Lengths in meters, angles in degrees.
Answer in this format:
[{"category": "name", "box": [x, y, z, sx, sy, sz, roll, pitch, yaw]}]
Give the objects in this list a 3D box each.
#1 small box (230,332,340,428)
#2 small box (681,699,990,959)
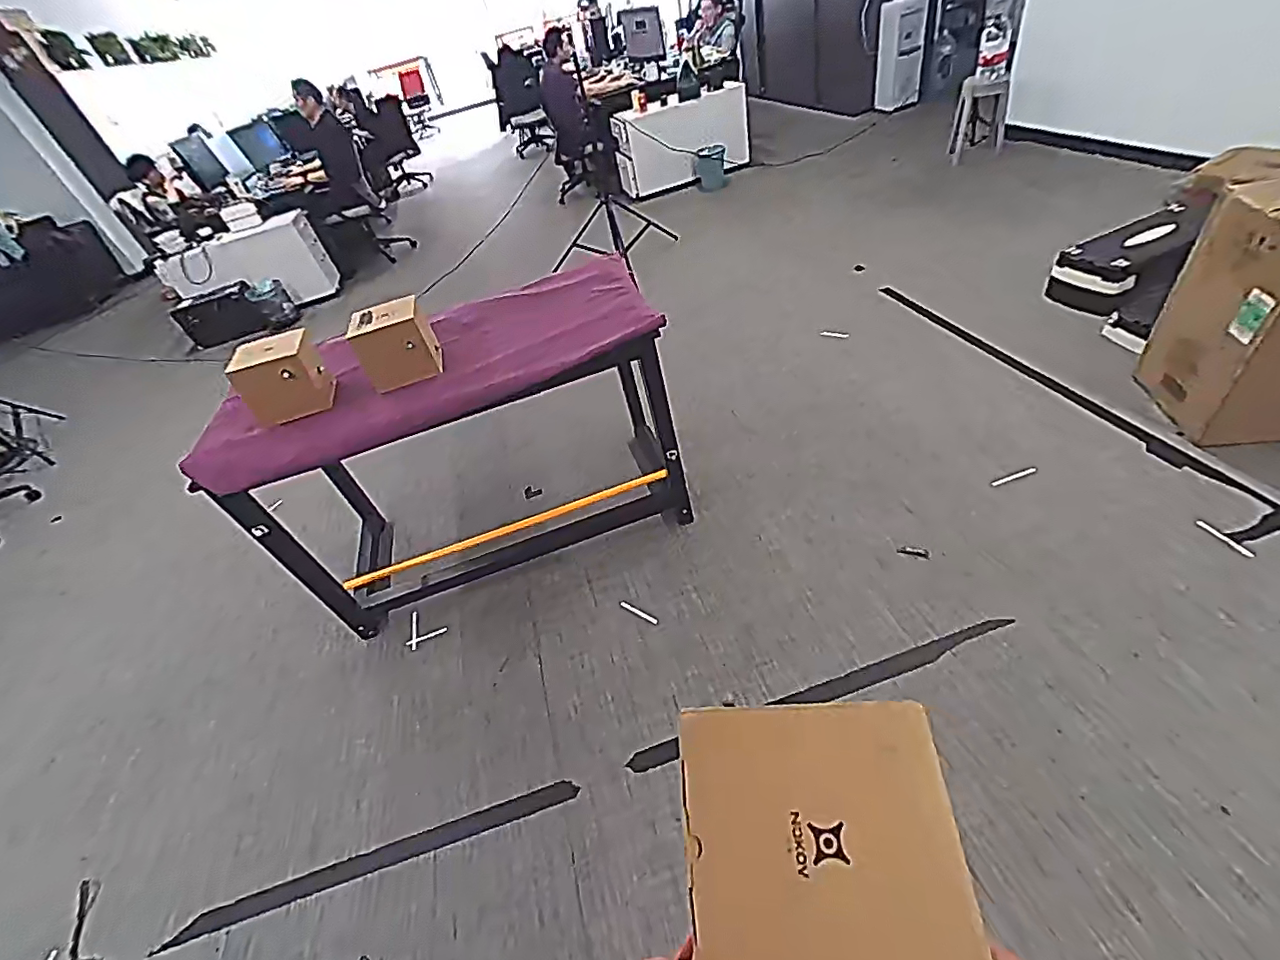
[{"category": "small box", "box": [-0.934, -0.267, 1.444, 0.179, 0.176, 0.168, -19, 41, -8]}, {"category": "small box", "box": [0.125, 0.270, 0.423, 0.179, 0.176, 0.168, -5, 61, 4]}]
